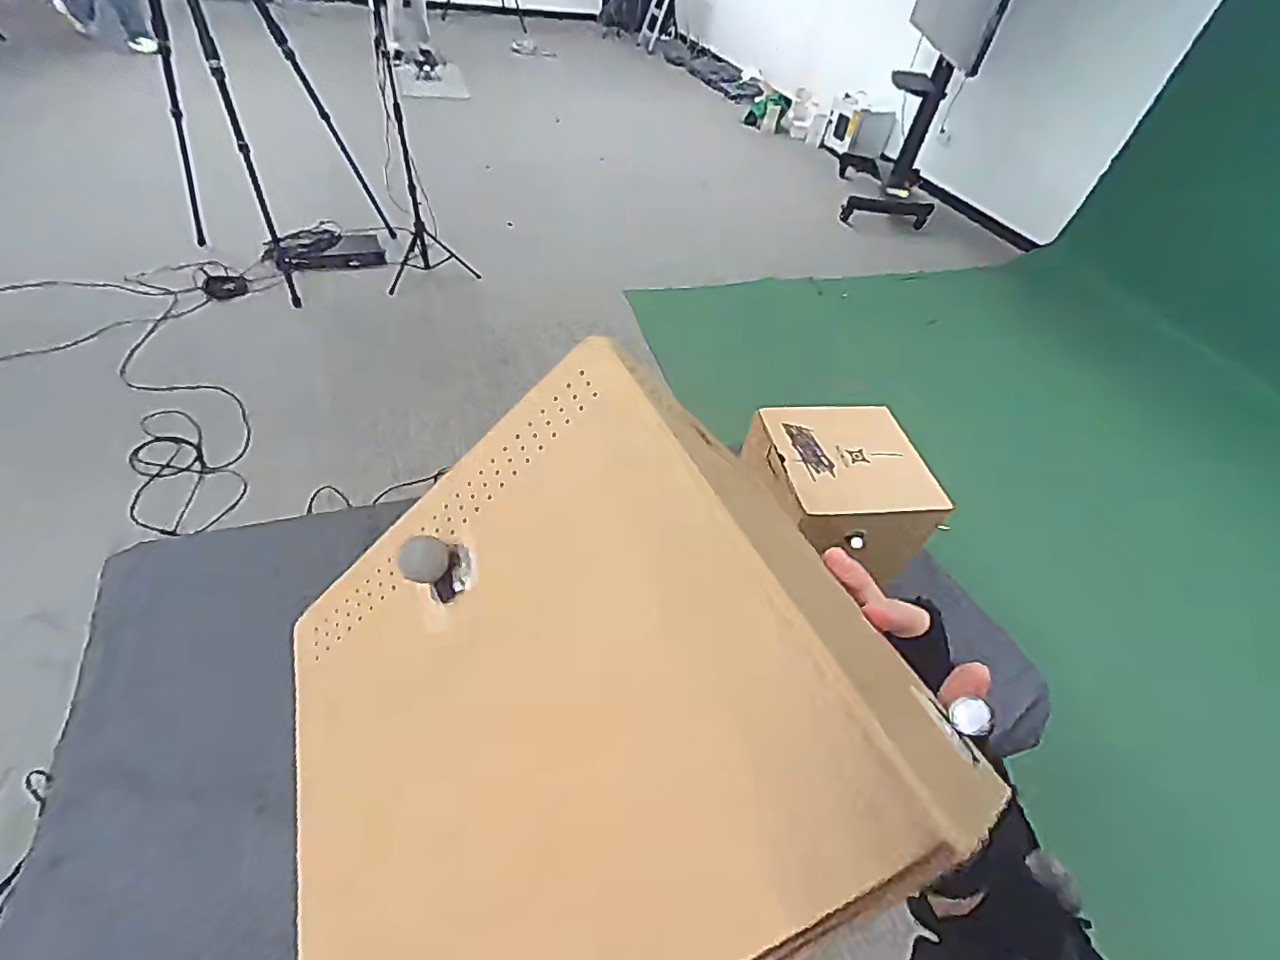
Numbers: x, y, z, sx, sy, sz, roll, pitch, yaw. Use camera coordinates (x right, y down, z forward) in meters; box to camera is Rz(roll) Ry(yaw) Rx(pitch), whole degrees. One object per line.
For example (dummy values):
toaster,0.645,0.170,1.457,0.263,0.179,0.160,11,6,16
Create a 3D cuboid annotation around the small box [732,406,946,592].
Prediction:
small box,0.224,0.026,0.673,0.179,0.176,0.168,-2,49,-11
